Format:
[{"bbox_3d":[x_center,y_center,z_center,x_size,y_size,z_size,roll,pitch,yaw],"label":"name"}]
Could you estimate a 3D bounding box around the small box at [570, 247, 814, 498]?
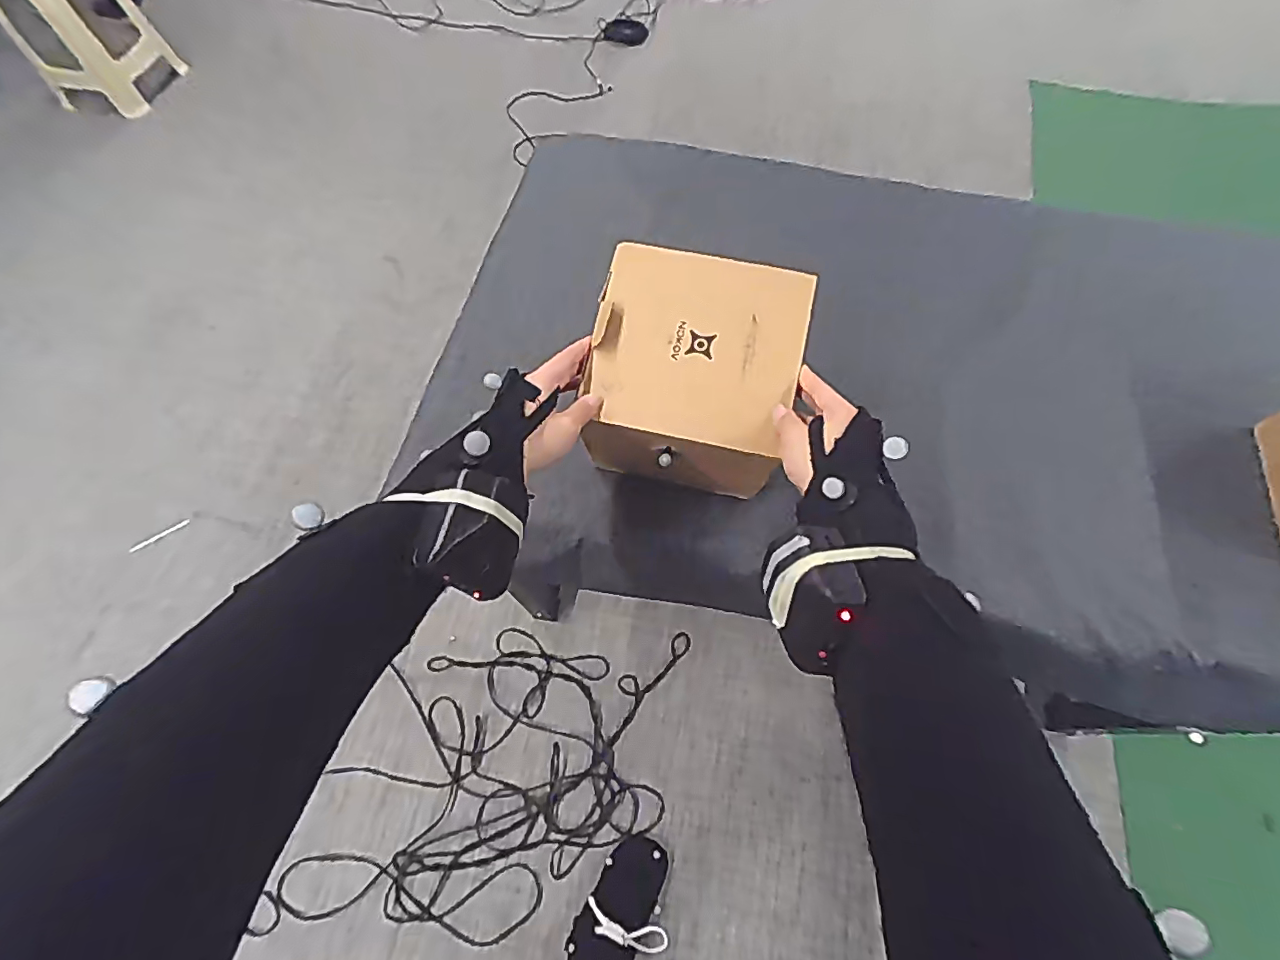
[{"bbox_3d":[0.047,-0.089,0.521,0.179,0.176,0.168,12,77,4],"label":"small box"}]
